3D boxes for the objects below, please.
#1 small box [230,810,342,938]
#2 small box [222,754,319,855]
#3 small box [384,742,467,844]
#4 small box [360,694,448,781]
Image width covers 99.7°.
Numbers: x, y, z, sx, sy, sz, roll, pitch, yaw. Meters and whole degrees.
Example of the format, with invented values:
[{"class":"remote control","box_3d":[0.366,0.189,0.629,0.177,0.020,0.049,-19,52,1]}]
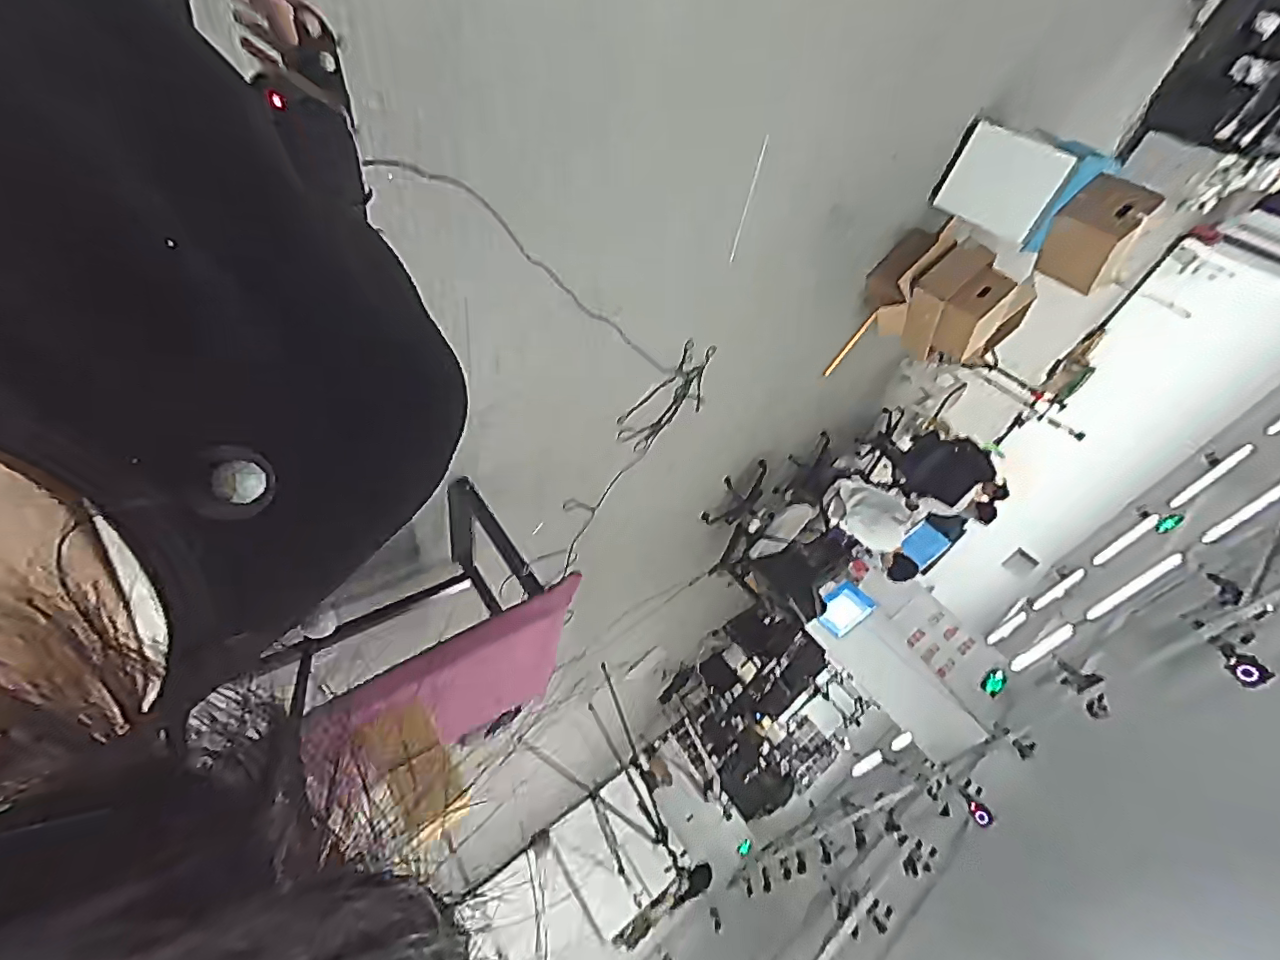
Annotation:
[{"class":"small box","box_3d":[-0.846,0.941,1.301,0.179,0.176,0.168,-21,146,-37]},{"class":"small box","box_3d":[-0.953,0.855,1.395,0.179,0.176,0.168,-17,144,-42]},{"class":"small box","box_3d":[-0.601,0.872,1.518,0.168,0.176,0.179,-22,146,-34]},{"class":"small box","box_3d":[-0.697,0.769,1.602,0.179,0.176,0.168,-26,148,-27]}]
